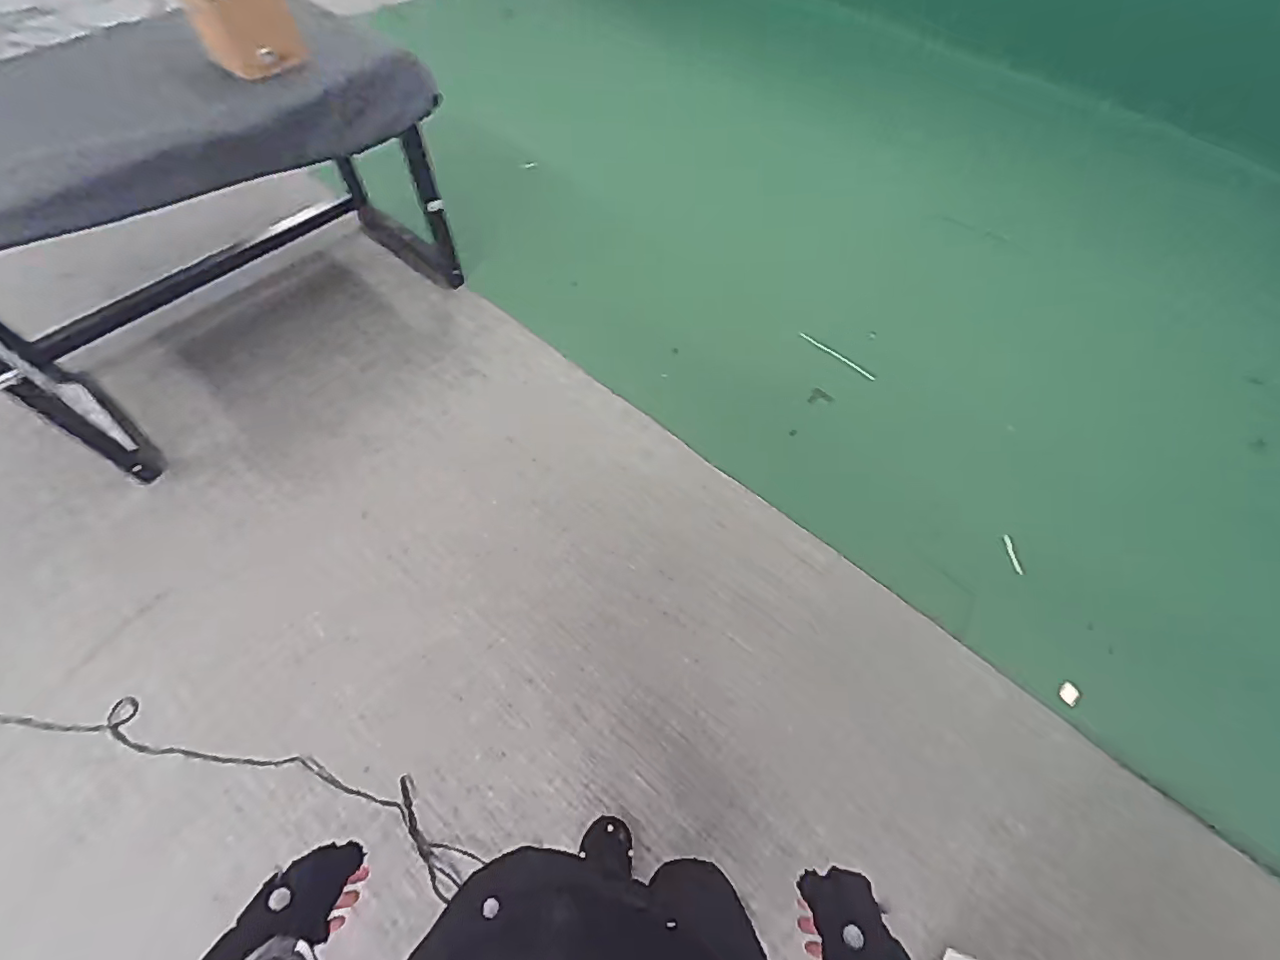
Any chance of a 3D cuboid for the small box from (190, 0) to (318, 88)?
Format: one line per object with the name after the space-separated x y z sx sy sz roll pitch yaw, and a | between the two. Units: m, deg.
-0.916 -1.072 1.280 0.179 0.176 0.168 38 67 18 | small box
